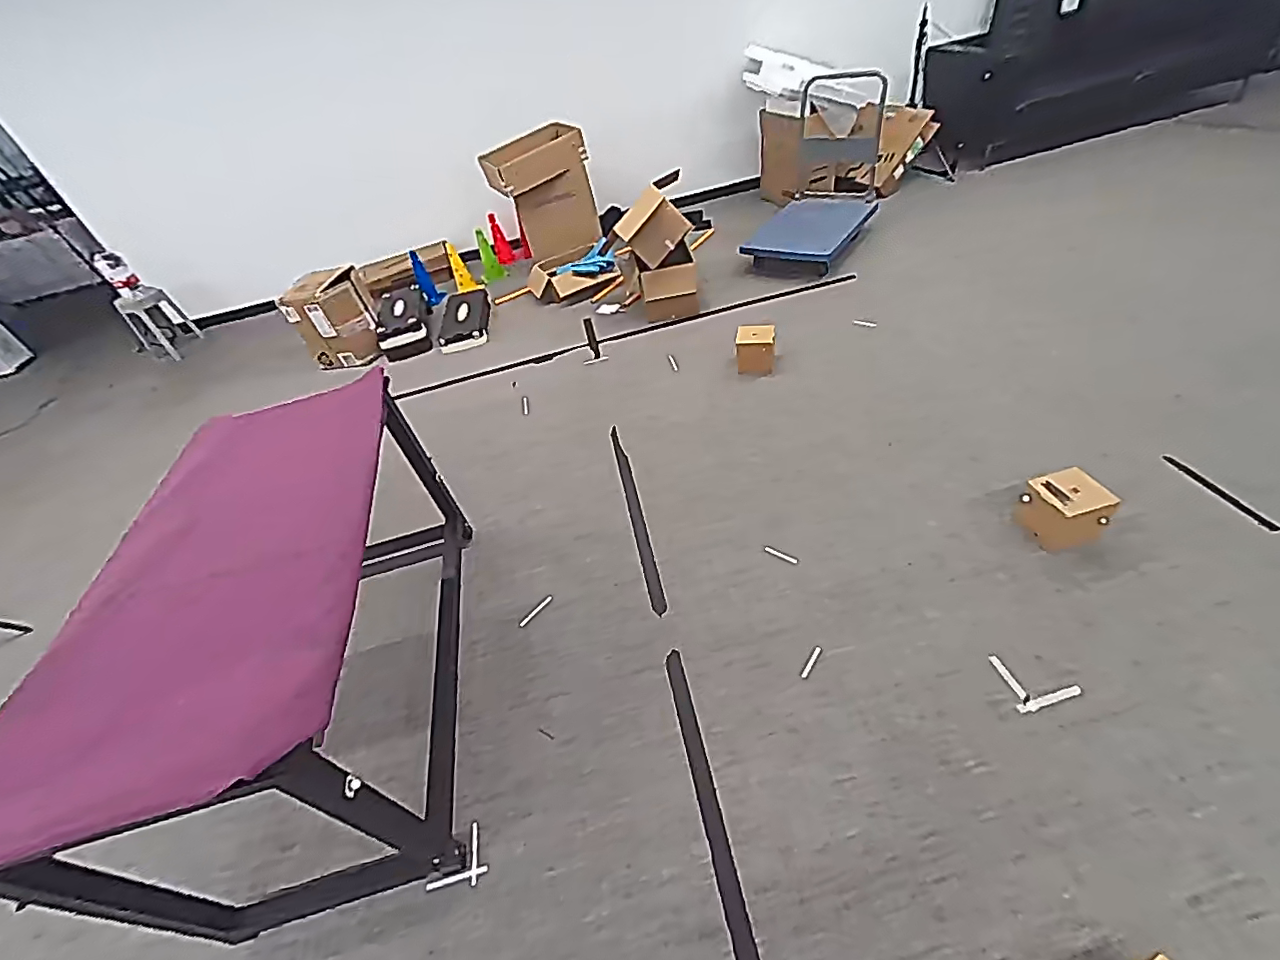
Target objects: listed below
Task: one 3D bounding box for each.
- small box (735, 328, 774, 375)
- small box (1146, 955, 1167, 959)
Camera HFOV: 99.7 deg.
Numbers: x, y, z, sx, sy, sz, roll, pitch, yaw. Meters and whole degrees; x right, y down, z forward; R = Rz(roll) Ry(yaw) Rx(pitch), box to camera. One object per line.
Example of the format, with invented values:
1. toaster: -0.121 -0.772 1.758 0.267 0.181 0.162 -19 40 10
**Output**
1. small box: 0.568 -0.631 2.663 0.179 0.176 0.168 3 44 16
2. small box: 0.873 0.950 0.899 0.168 0.176 0.179 -26 44 -14
